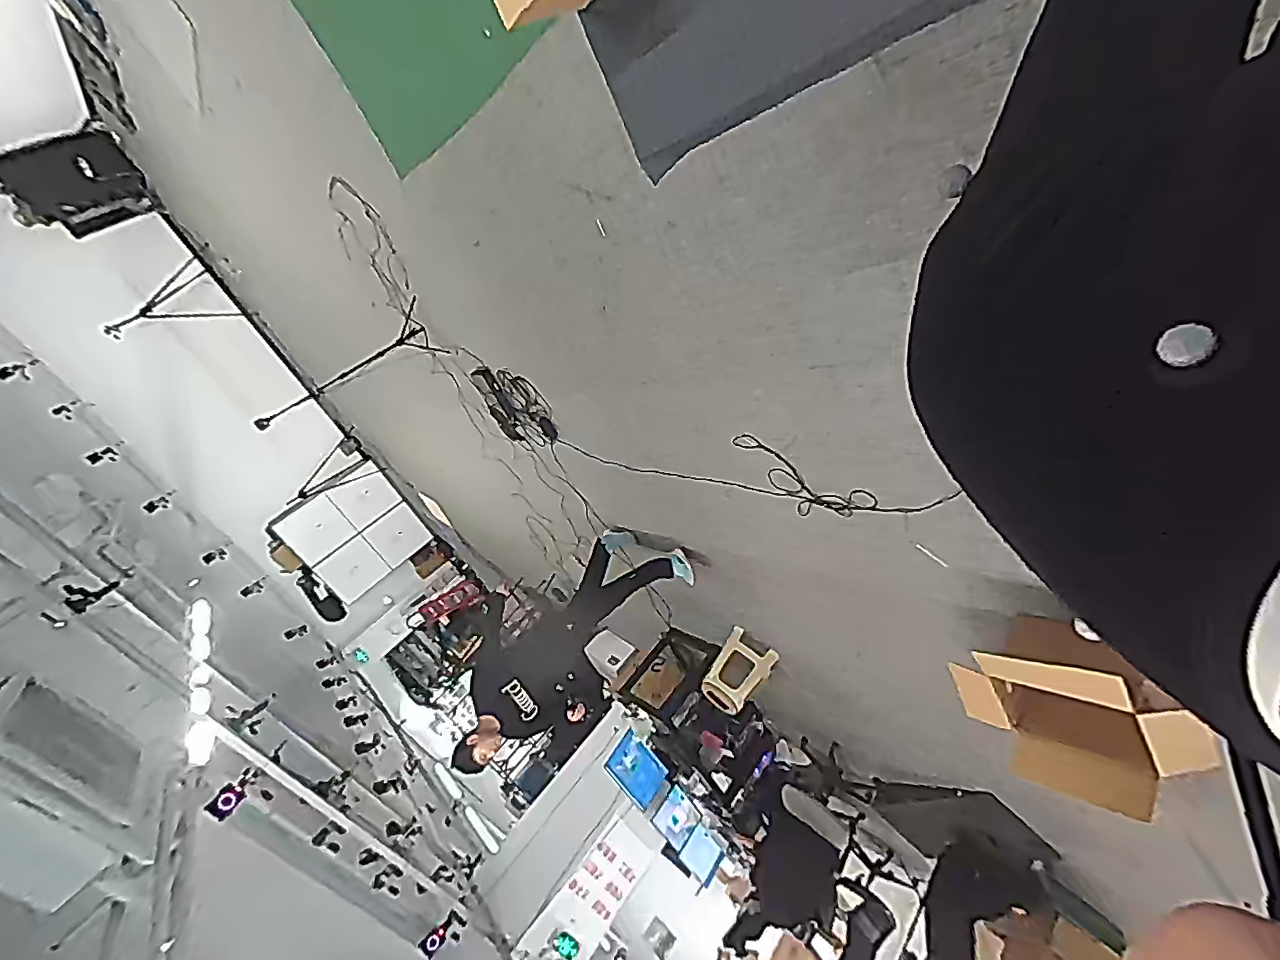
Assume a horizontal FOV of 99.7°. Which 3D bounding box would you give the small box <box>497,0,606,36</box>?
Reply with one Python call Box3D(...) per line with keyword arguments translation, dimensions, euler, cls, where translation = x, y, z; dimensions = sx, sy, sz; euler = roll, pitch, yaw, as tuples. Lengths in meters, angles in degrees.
Box3D(translation=(-0.111, -0.758, 0.738), dimensions=(0.179, 0.176, 0.168), euler=(11, 134, 48), cls="small box")
